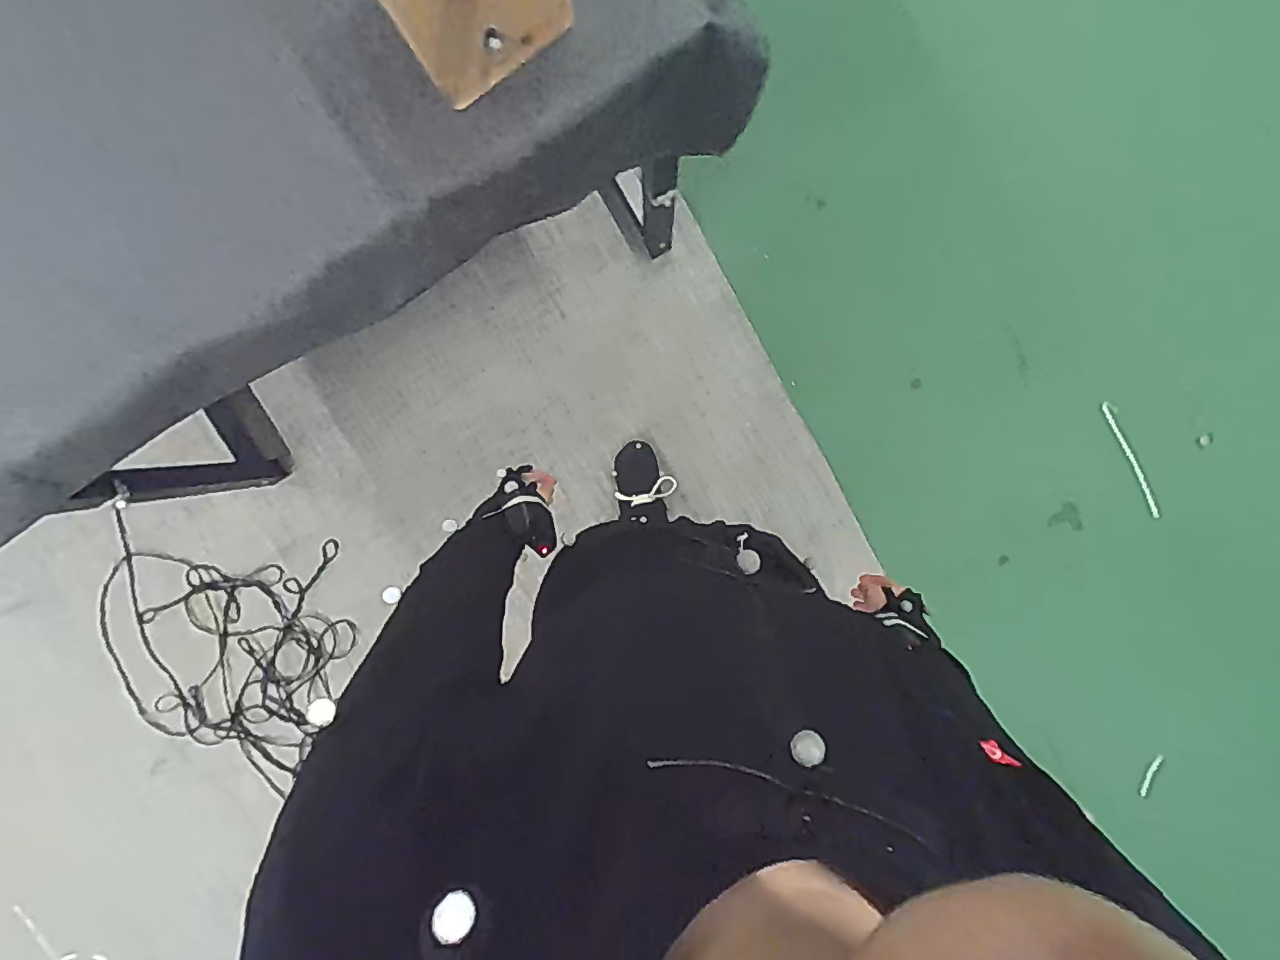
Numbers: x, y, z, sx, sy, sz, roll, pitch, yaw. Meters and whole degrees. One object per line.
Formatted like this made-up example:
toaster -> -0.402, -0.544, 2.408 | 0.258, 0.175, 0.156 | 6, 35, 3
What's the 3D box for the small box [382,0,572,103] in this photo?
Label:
small box -> -0.185, -0.521, 0.513 | 0.168, 0.176, 0.179 | -35, 93, 4
